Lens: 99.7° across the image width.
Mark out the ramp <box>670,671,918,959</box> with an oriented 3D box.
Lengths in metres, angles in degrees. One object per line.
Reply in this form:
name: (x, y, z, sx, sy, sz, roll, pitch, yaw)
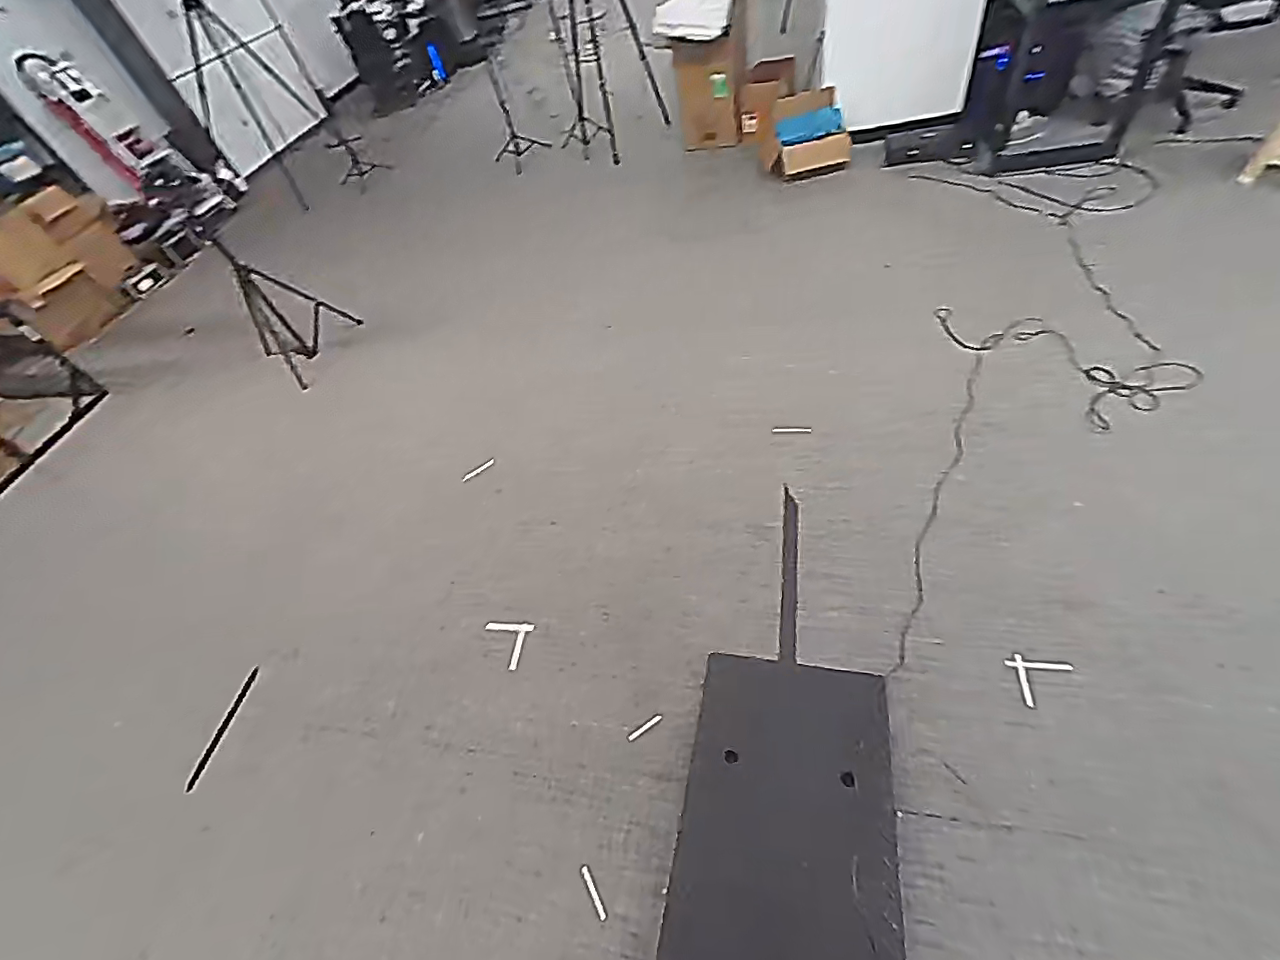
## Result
ramp: (0.336, 0.899, 1.202, 0.509, 0.206, 0.991, -1, 49, 17)
